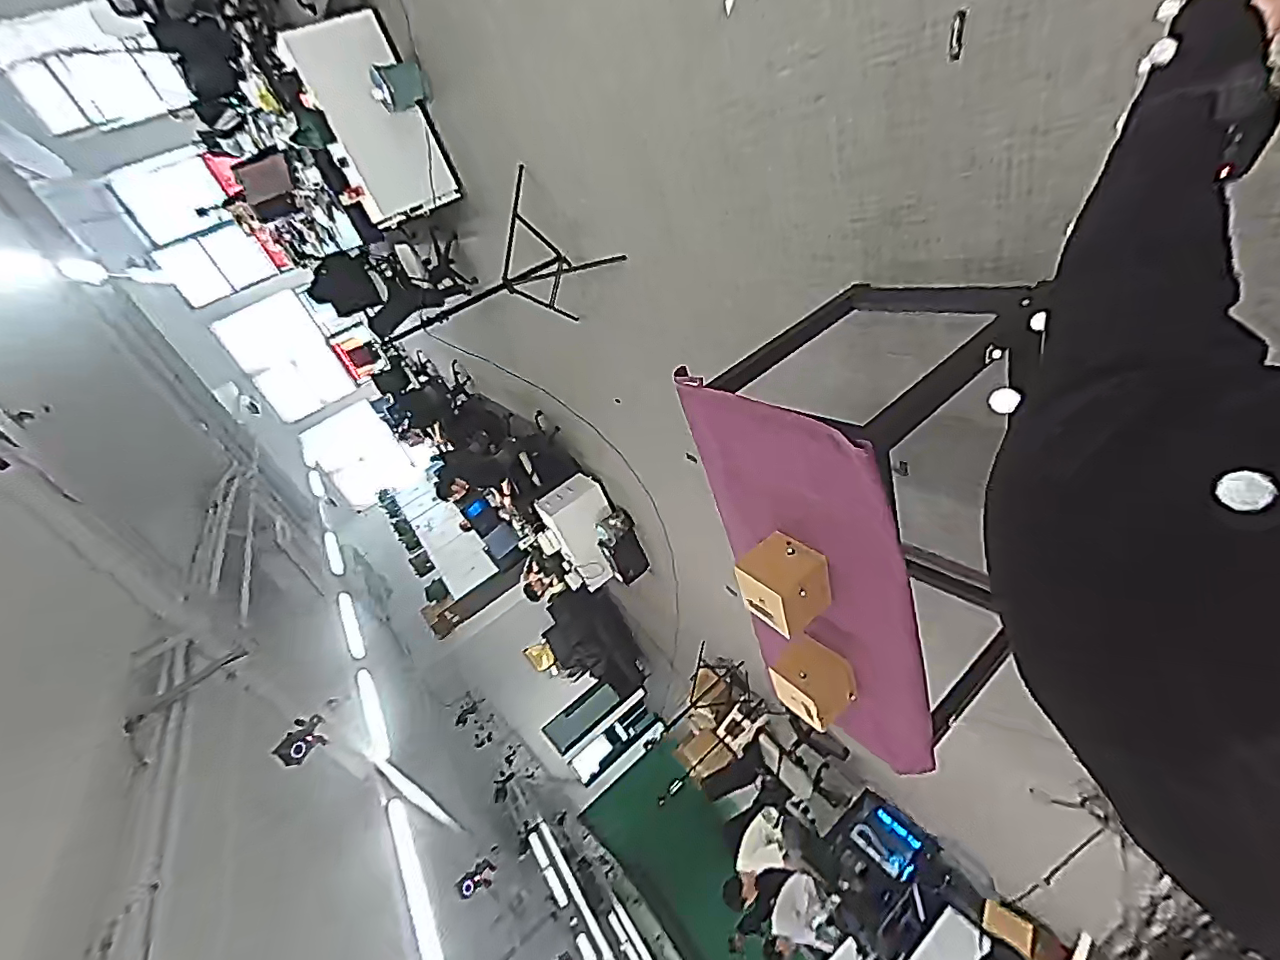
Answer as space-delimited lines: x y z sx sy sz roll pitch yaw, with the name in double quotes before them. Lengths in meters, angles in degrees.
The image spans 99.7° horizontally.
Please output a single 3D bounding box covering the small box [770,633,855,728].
"small box" 0.528 0.597 1.632 0.179 0.176 0.168 28 147 52
